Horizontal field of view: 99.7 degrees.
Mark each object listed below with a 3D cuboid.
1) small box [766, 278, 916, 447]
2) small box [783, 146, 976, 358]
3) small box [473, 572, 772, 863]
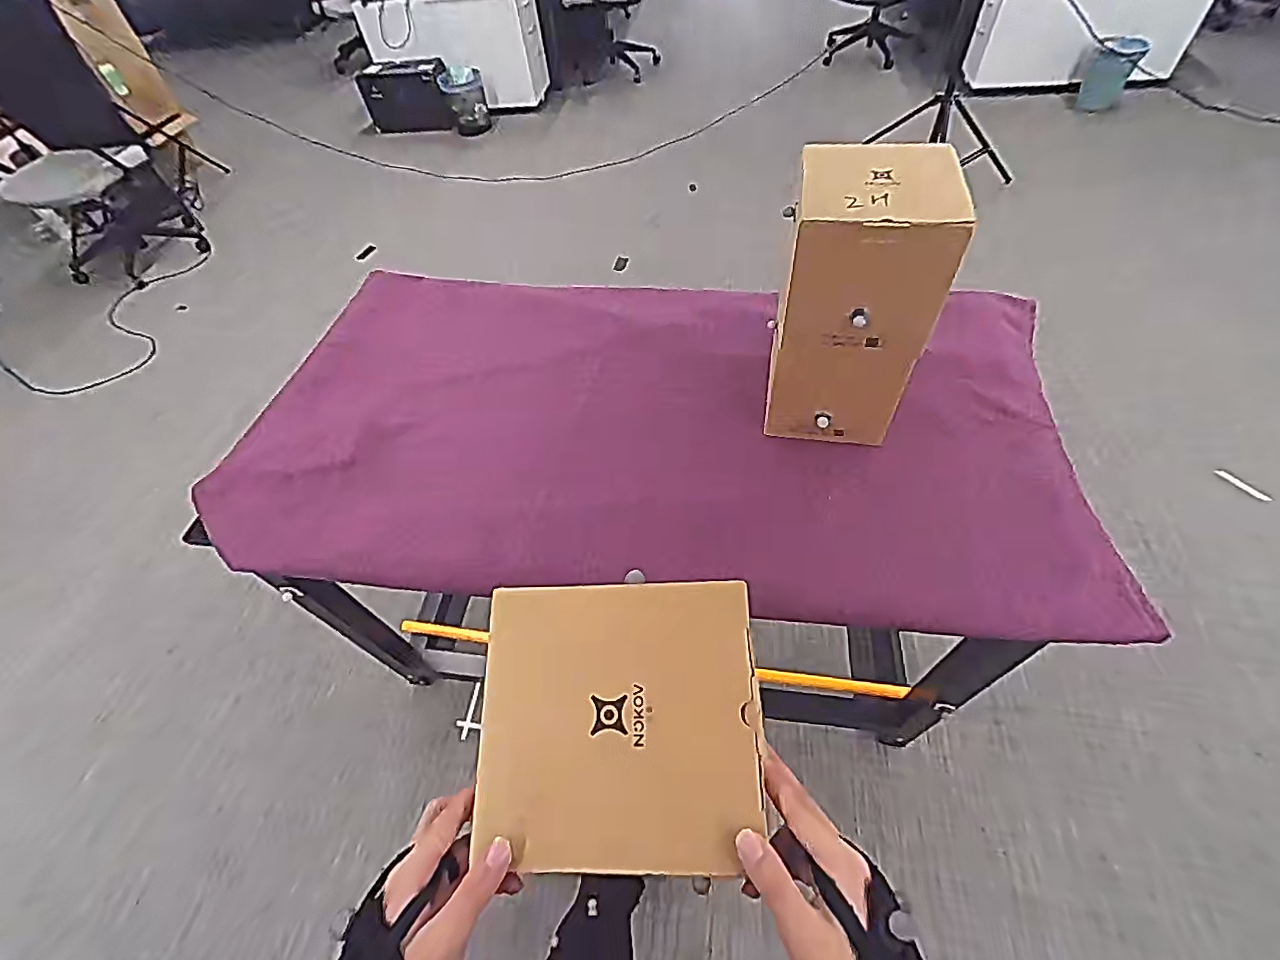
[{"bbox_3d":[0.276,-0.172,0.776,0.168,0.176,0.179,7,55,11],"label":"small box"},{"bbox_3d":[0.266,-0.270,0.644,0.168,0.176,0.179,6,54,11],"label":"small box"},{"bbox_3d":[-0.004,0.172,0.410,0.179,0.176,0.168,-3,66,5],"label":"small box"}]
